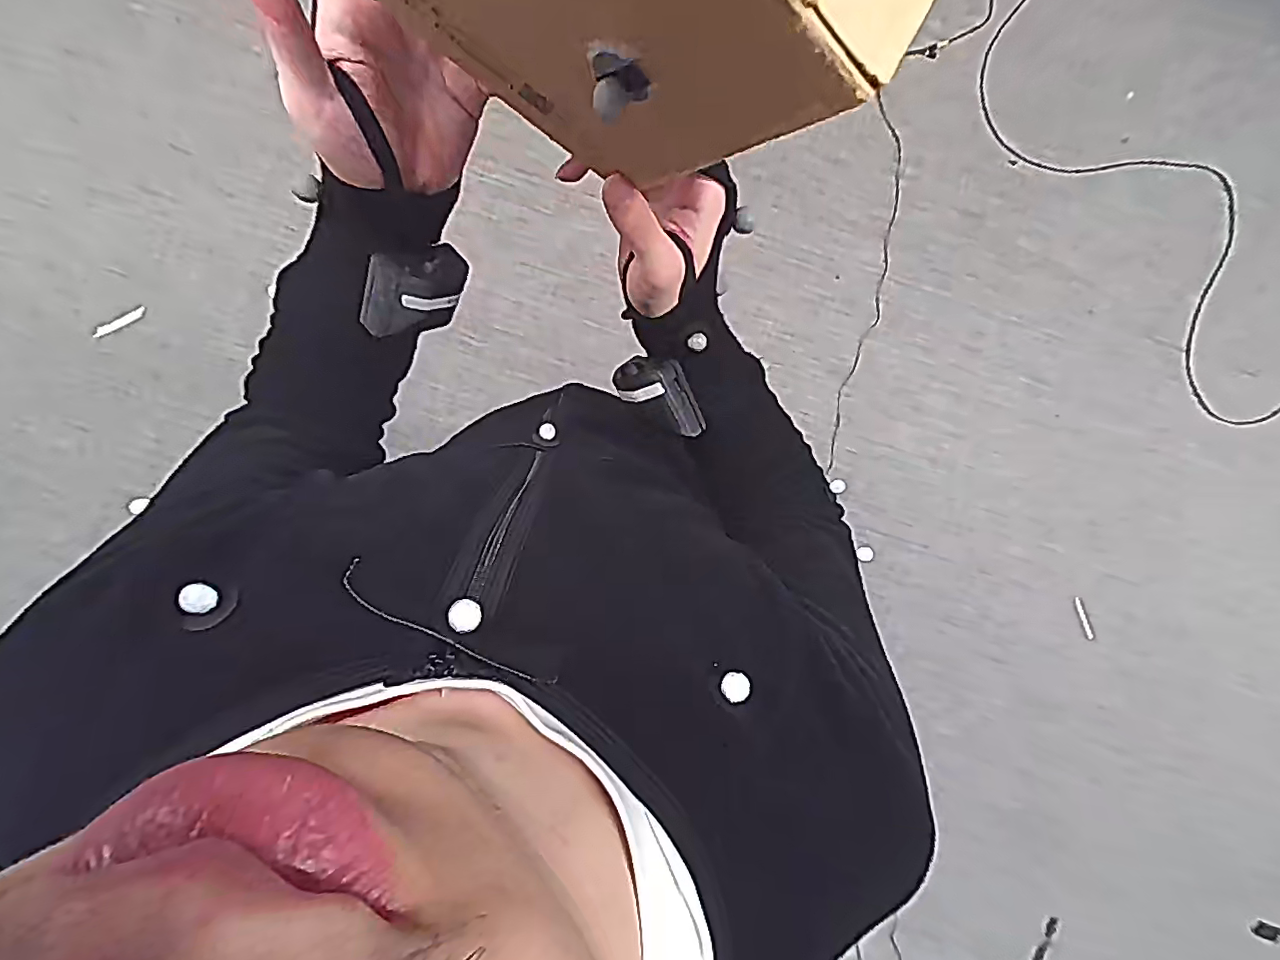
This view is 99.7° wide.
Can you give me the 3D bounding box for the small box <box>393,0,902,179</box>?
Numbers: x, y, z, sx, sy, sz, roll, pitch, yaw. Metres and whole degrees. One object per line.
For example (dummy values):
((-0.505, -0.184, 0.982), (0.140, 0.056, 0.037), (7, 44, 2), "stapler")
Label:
((-0.001, -0.233, 0.175), (0.168, 0.176, 0.179), (24, 95, -32), "small box")
